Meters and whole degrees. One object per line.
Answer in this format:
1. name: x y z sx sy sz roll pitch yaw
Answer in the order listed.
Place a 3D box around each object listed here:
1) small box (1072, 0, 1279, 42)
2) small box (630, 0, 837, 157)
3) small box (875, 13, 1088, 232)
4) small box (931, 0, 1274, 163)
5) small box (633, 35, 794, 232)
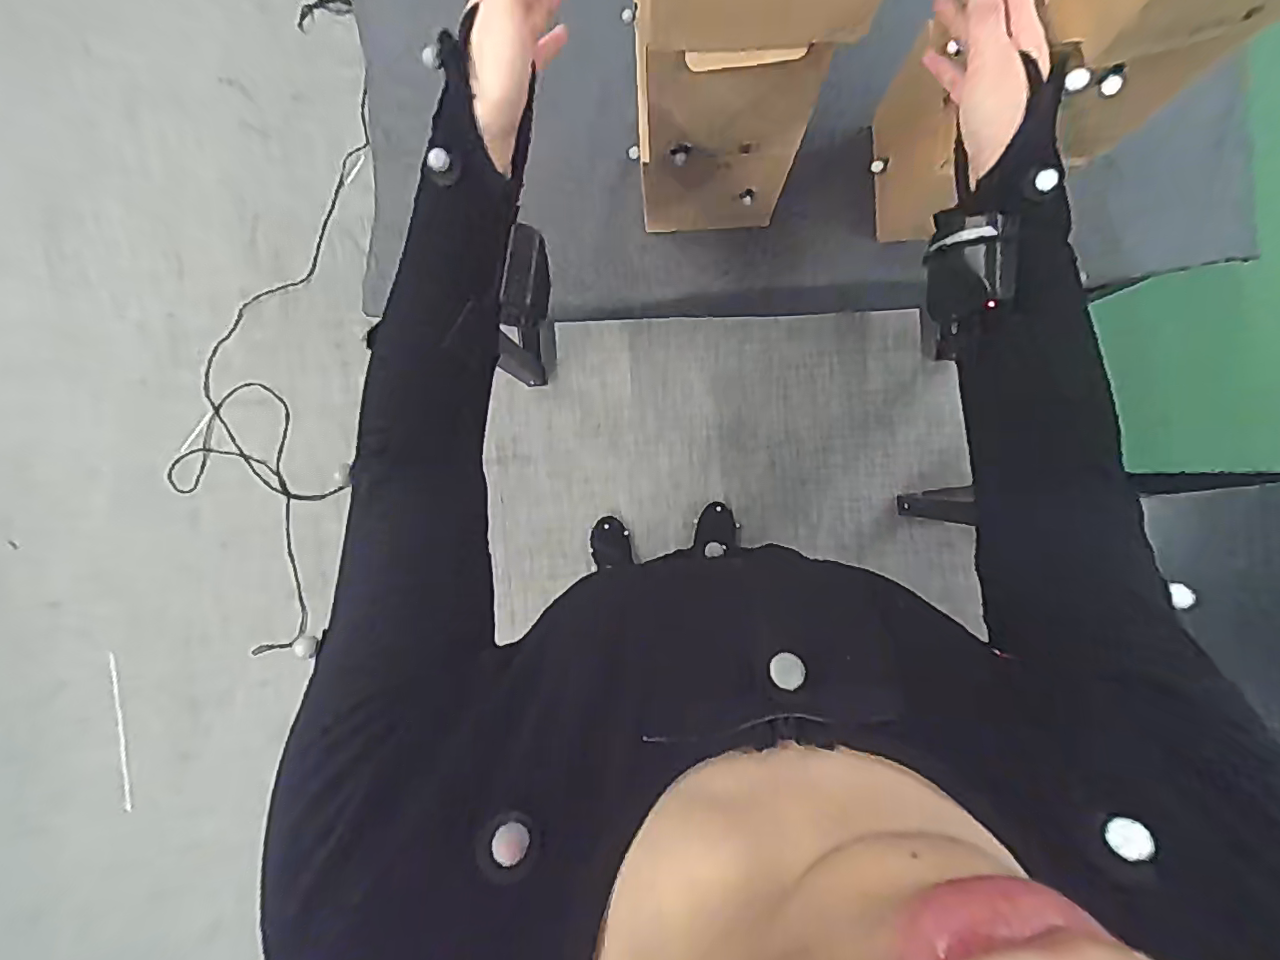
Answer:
1. small box: 0.398 -0.421 0.333 0.168 0.176 0.179 -12 88 3
2. small box: 0.076 -0.440 0.518 0.168 0.176 0.179 -6 87 3
3. small box: 0.400 -0.422 0.661 0.168 0.176 0.179 -2 89 4
4. small box: 0.400 -0.426 0.498 0.179 0.176 0.168 -4 89 4
5. small box: 0.086 -0.436 0.682 0.179 0.176 0.168 -3 88 4
